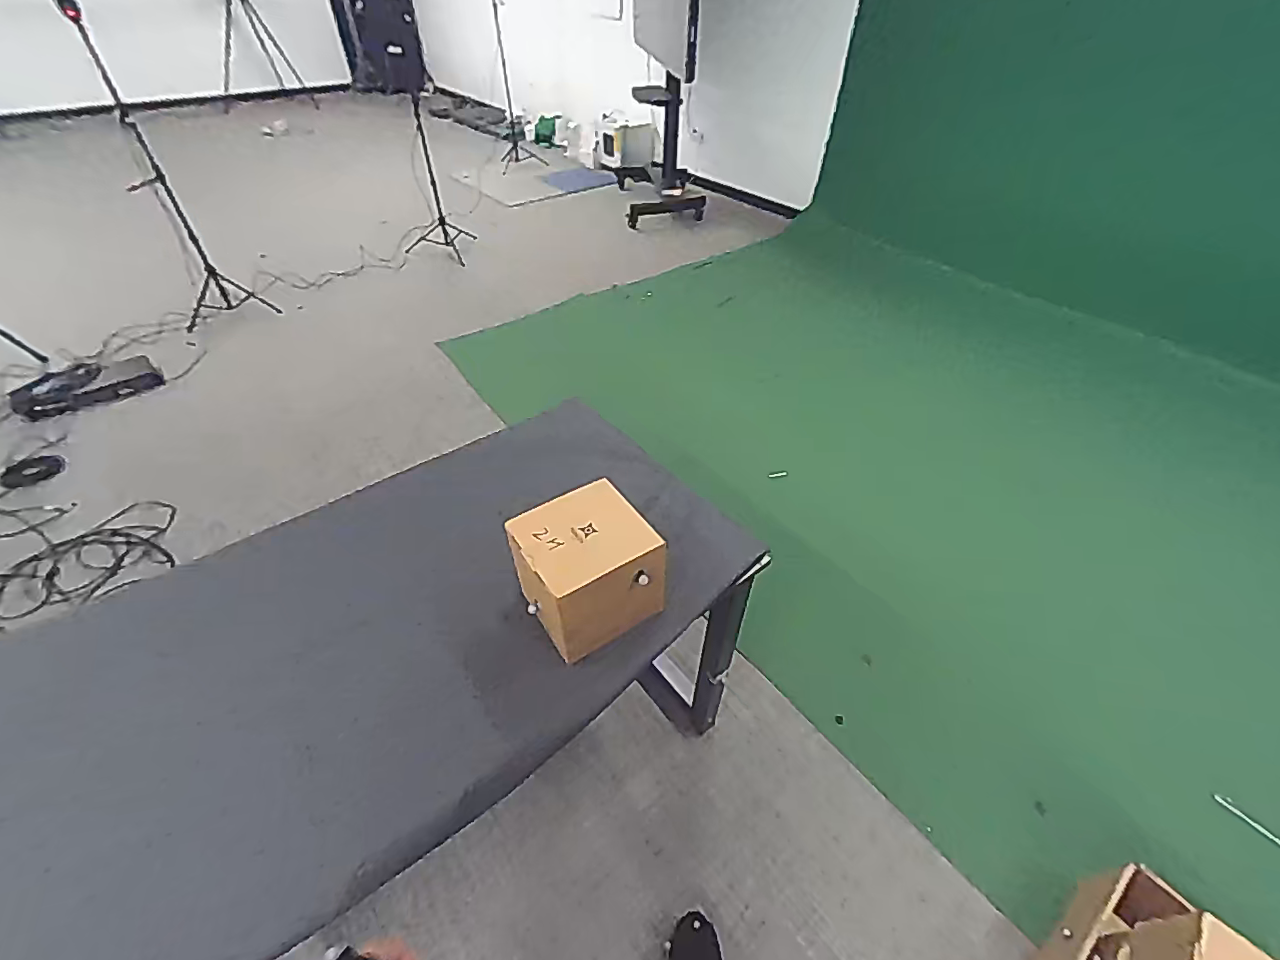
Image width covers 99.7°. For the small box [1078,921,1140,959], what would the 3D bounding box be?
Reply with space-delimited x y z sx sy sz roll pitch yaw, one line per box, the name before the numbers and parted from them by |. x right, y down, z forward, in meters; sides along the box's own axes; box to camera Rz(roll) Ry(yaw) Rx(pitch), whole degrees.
small box | 0.916 0.961 0.981 0.168 0.176 0.179 -27 51 -25

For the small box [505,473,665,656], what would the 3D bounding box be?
small box | -0.081 0.126 0.814 0.179 0.176 0.168 -25 48 -23

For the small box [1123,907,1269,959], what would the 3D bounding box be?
small box | 0.917 0.842 0.867 0.179 0.176 0.168 36 56 27
